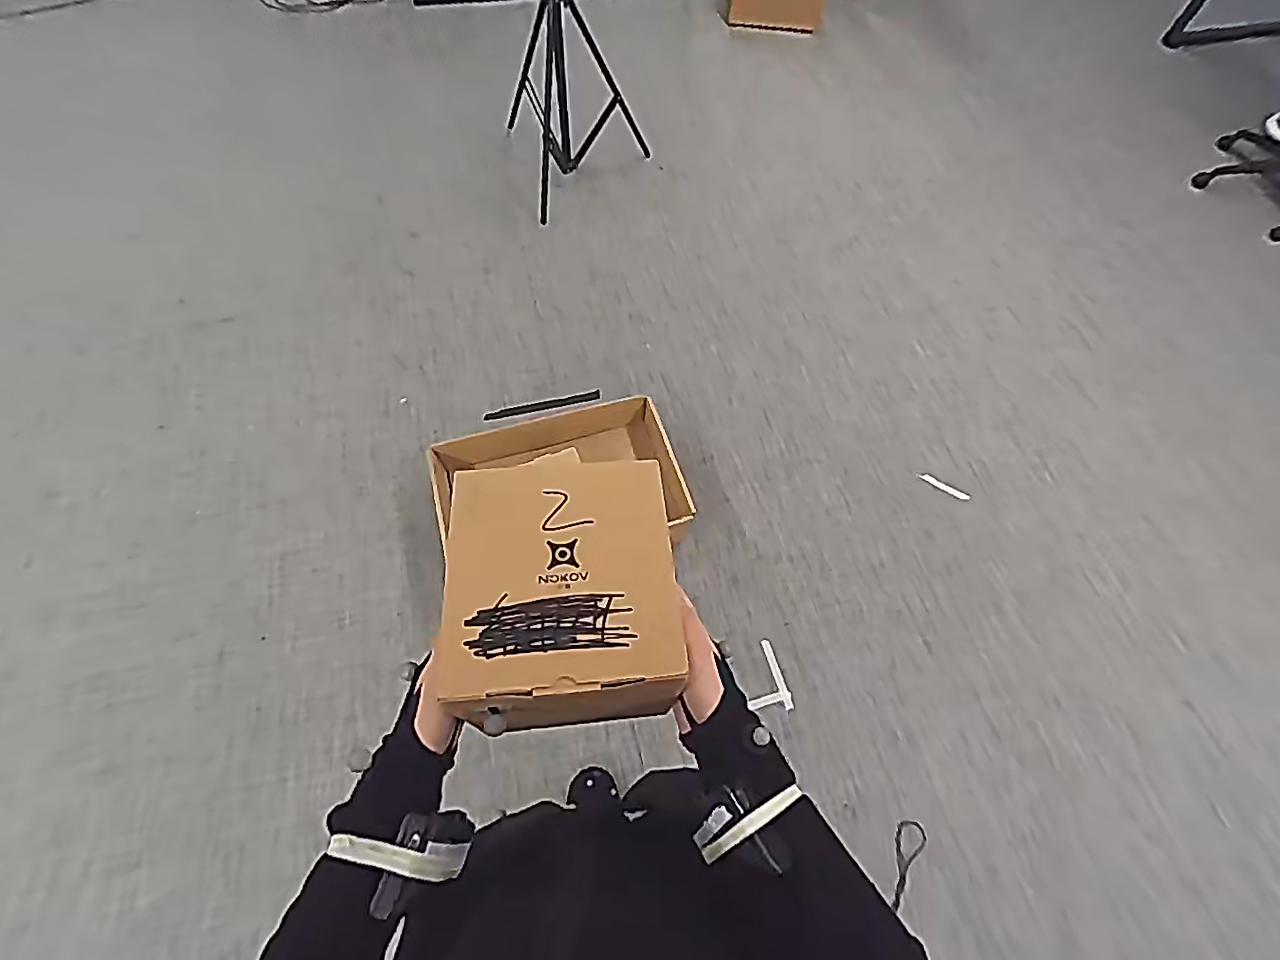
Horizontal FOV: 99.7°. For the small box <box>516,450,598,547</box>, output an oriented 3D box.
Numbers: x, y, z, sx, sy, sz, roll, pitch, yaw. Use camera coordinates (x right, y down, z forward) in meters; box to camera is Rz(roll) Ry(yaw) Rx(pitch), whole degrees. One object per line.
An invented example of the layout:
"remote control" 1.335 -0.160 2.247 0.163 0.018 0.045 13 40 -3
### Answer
"small box" -0.217 0.053 1.431 0.168 0.176 0.179 -20 68 -12
